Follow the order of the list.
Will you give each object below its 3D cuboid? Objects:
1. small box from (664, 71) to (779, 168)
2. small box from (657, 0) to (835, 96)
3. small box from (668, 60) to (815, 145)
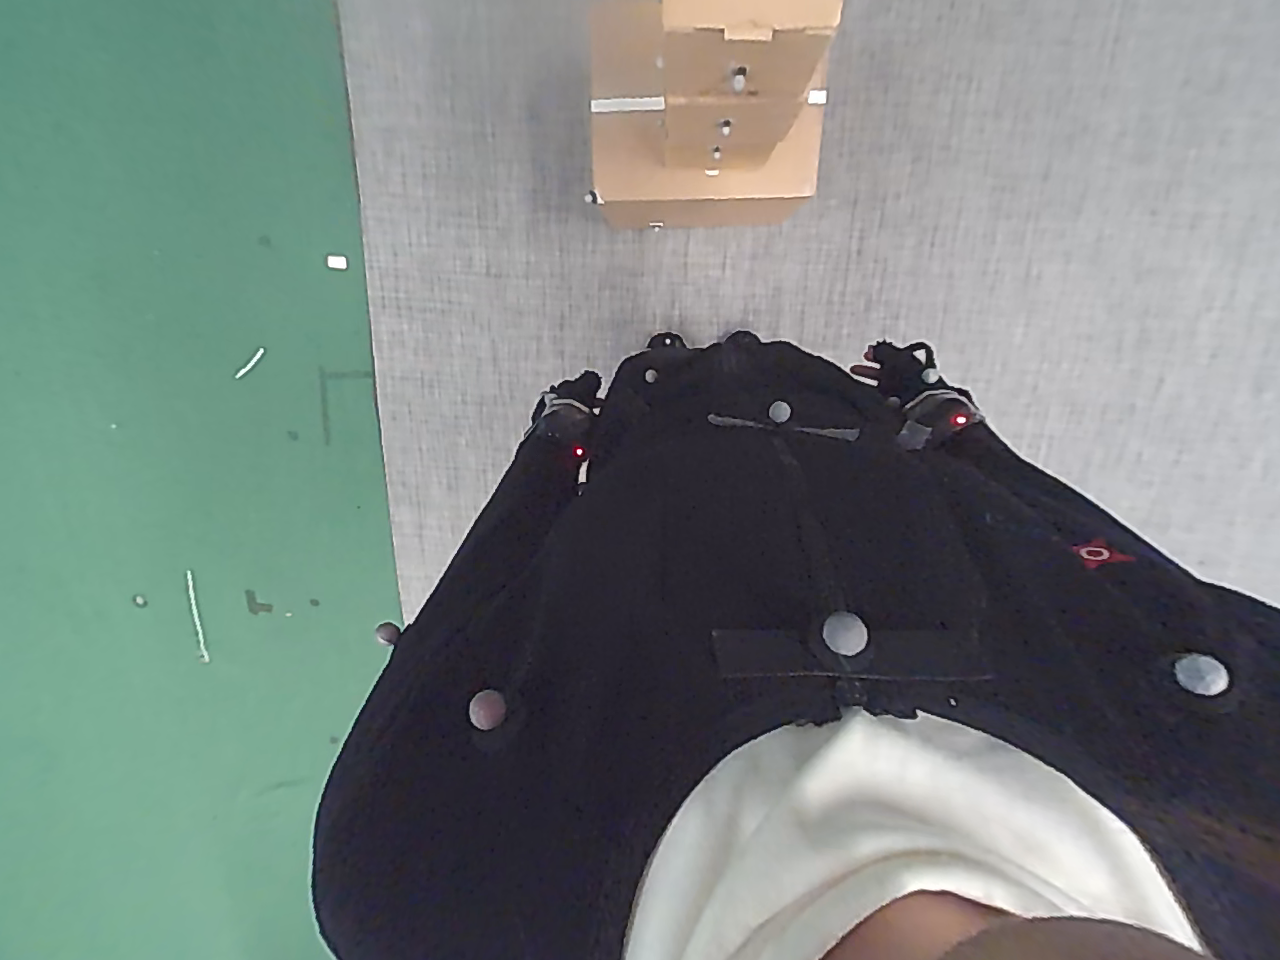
[{"bbox_3d":[0.130,-0.615,0.870,0.179,0.176,0.168,2,108,3],"label":"small box"},{"bbox_3d":[0.111,-0.523,0.556,0.168,0.176,0.179,5,108,4],"label":"small box"},{"bbox_3d":[0.125,-0.561,0.715,0.179,0.176,0.168,-2,107,4],"label":"small box"}]
